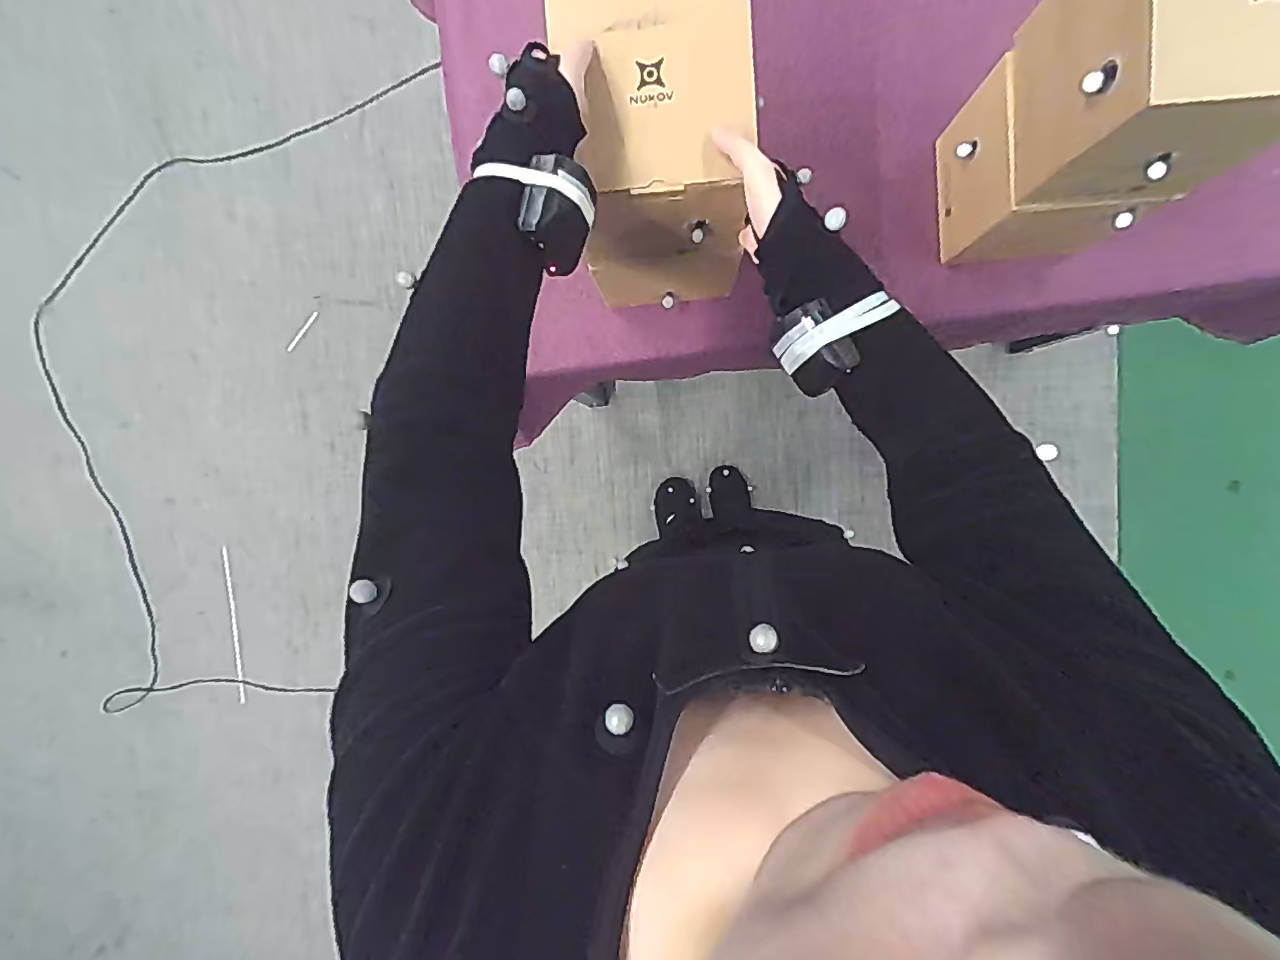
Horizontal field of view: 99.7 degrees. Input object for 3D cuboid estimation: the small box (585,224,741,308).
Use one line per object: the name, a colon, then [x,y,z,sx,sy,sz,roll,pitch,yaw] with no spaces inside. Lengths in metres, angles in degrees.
small box: [0.025,-0.325,0.679,0.179,0.176,0.168,-4,92,5]

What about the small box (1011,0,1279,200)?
small box: [0.459,-0.365,0.473,0.168,0.176,0.179,-1,92,4]

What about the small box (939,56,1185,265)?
small box: [0.474,-0.367,0.637,0.179,0.176,0.168,-3,92,5]

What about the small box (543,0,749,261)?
small box: [0.012,-0.322,0.516,0.168,0.176,0.179,-3,92,5]
